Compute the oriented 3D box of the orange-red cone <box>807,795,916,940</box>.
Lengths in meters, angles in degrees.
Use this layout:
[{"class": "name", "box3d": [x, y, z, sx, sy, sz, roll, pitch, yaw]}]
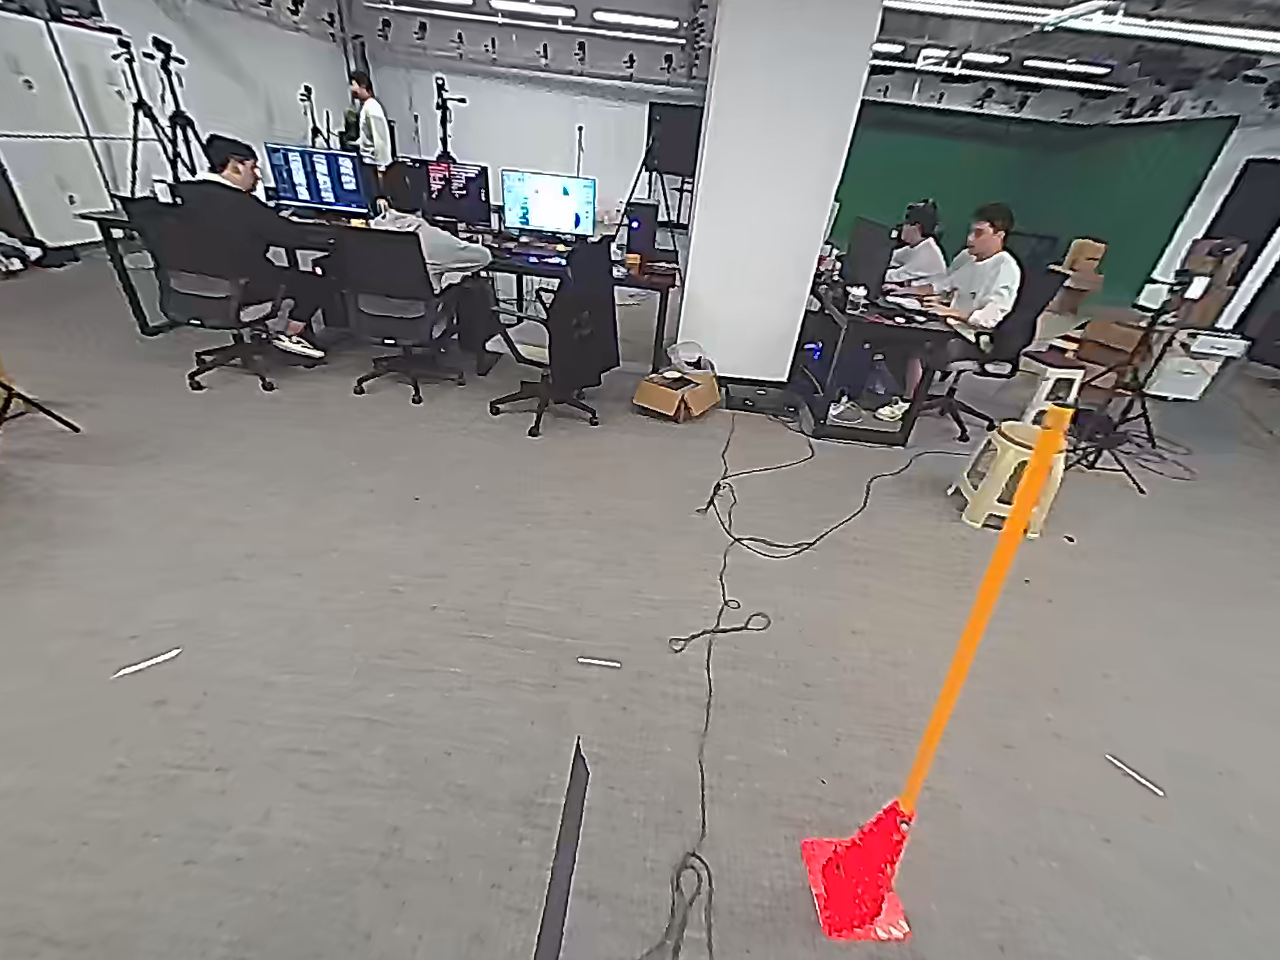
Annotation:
[{"class": "orange-red cone", "box3d": [0.513, 0.793, 1.160, 0.199, 0.360, 0.198, 3, 31, -2]}]
